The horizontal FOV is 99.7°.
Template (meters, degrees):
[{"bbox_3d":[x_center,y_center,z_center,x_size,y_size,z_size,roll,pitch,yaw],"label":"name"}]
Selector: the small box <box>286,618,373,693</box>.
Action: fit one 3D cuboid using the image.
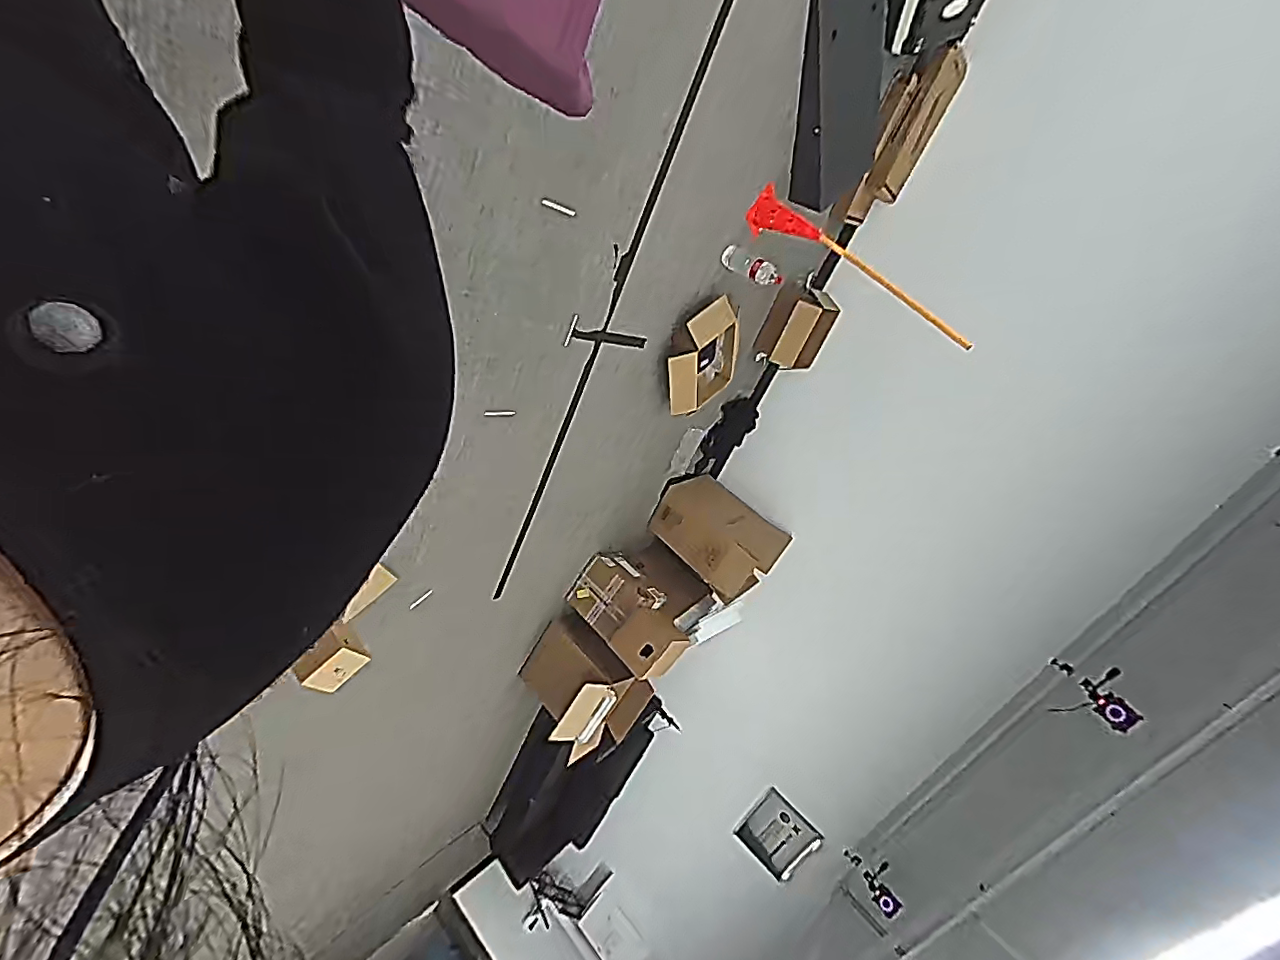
[{"bbox_3d":[-1.083,0.607,1.882,0.168,0.176,0.179,-42,153,-16],"label":"small box"}]
